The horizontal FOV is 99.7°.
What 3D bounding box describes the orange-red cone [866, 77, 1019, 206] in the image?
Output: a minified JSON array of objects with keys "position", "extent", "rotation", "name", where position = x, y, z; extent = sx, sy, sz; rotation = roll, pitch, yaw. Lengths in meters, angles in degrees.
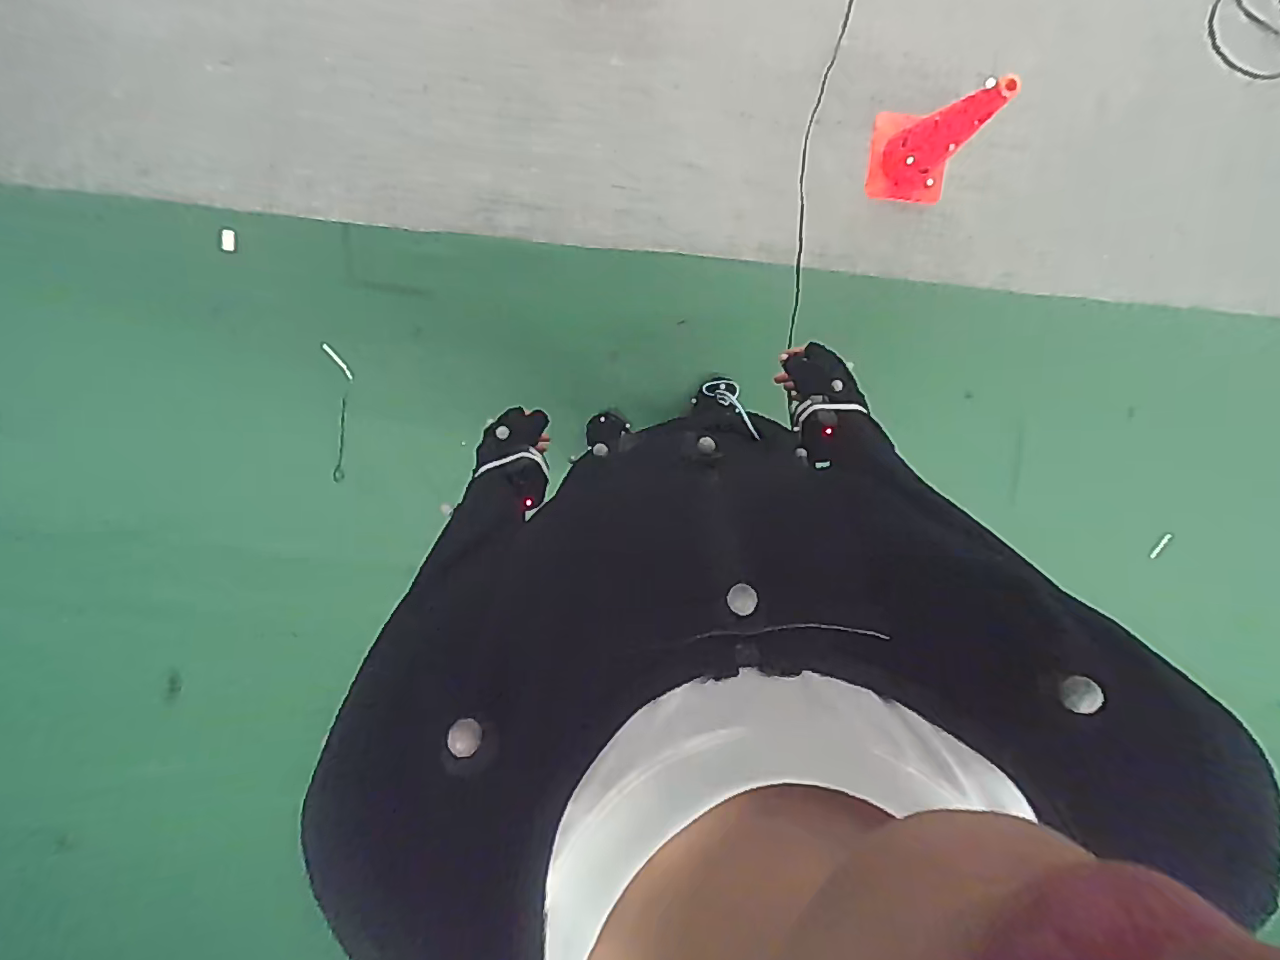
[{"position":[0.693,-0.784,1.206],"extent":[0.198,0.360,0.199],"rotation":[4,99,-5],"name":"orange-red cone"}]
